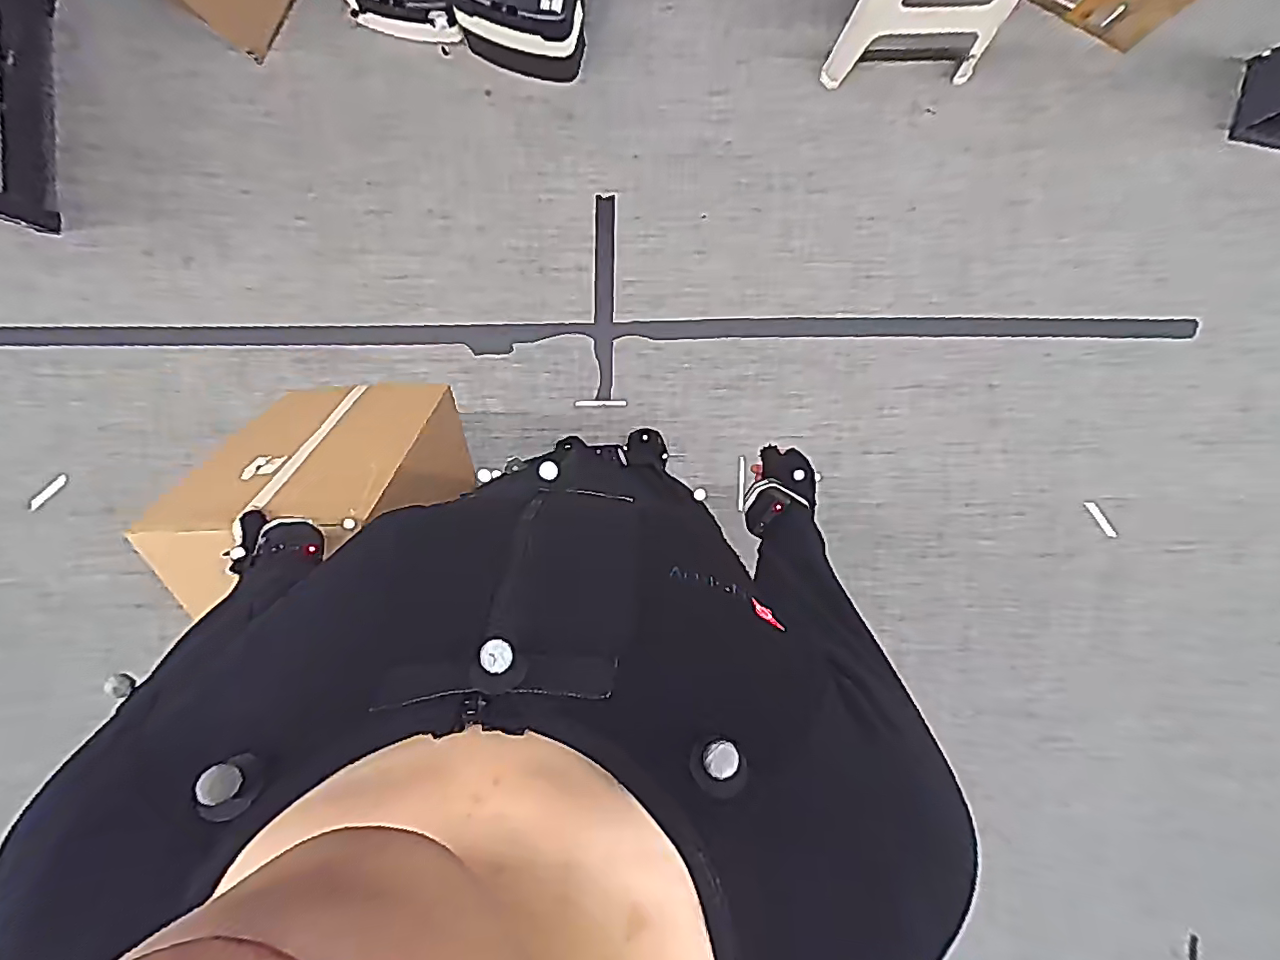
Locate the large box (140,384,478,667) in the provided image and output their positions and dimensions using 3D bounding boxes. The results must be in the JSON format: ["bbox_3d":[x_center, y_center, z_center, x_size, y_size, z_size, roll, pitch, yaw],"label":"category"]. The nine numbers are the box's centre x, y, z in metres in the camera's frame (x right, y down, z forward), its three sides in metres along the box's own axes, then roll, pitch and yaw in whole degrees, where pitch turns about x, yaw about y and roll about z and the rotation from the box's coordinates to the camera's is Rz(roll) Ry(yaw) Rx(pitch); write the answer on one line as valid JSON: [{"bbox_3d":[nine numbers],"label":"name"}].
[{"bbox_3d":[-0.505,0.064,0.952,0.320,0.408,0.320,-3,128,2],"label":"large box"}]
